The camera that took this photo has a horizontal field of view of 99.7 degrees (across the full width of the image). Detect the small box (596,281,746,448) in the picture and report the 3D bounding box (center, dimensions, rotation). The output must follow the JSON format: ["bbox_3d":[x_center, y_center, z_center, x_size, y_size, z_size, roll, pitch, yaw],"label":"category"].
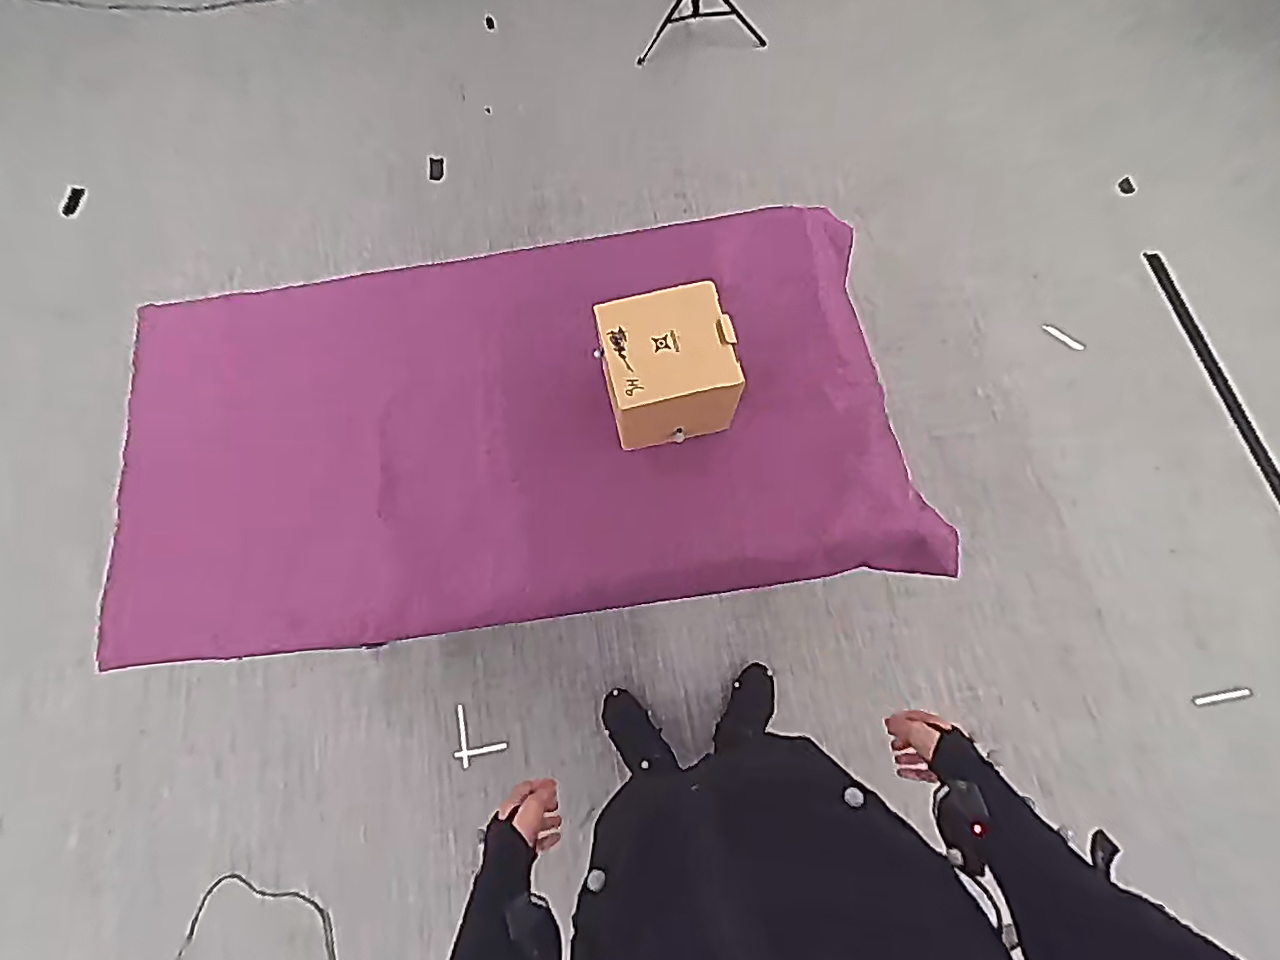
[{"bbox_3d":[0.038,-0.163,0.806,0.179,0.176,0.168,-13,73,-4],"label":"small box"}]
